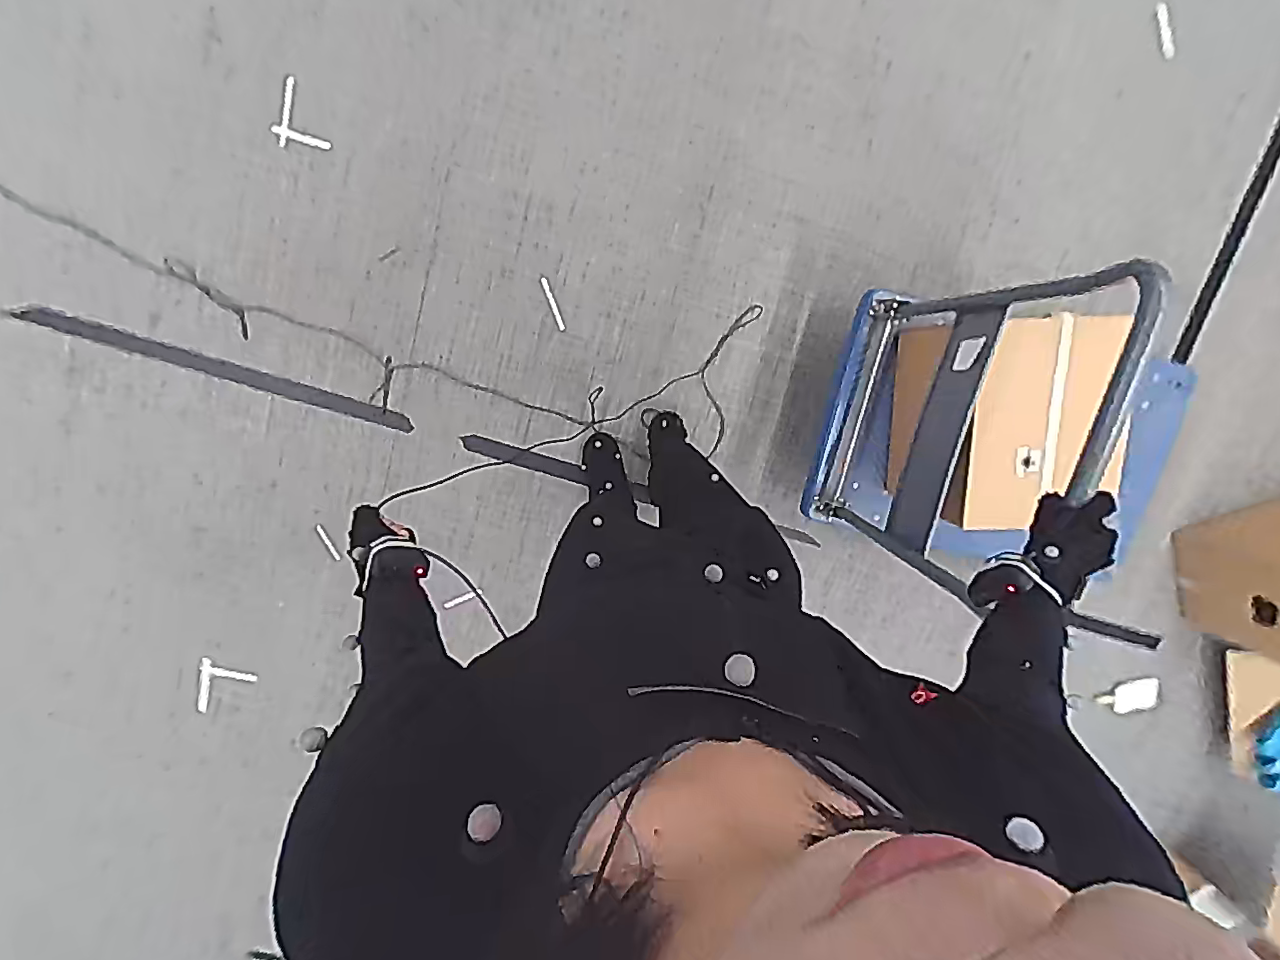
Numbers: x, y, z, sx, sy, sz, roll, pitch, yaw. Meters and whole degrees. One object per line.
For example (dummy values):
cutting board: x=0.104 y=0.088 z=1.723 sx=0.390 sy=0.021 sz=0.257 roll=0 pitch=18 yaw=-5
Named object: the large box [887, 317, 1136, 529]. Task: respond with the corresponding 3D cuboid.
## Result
large box: x=0.772 y=-0.135 z=1.184 sx=0.320 sy=0.320 sz=0.408 roll=-2 pitch=103 yaw=-2
